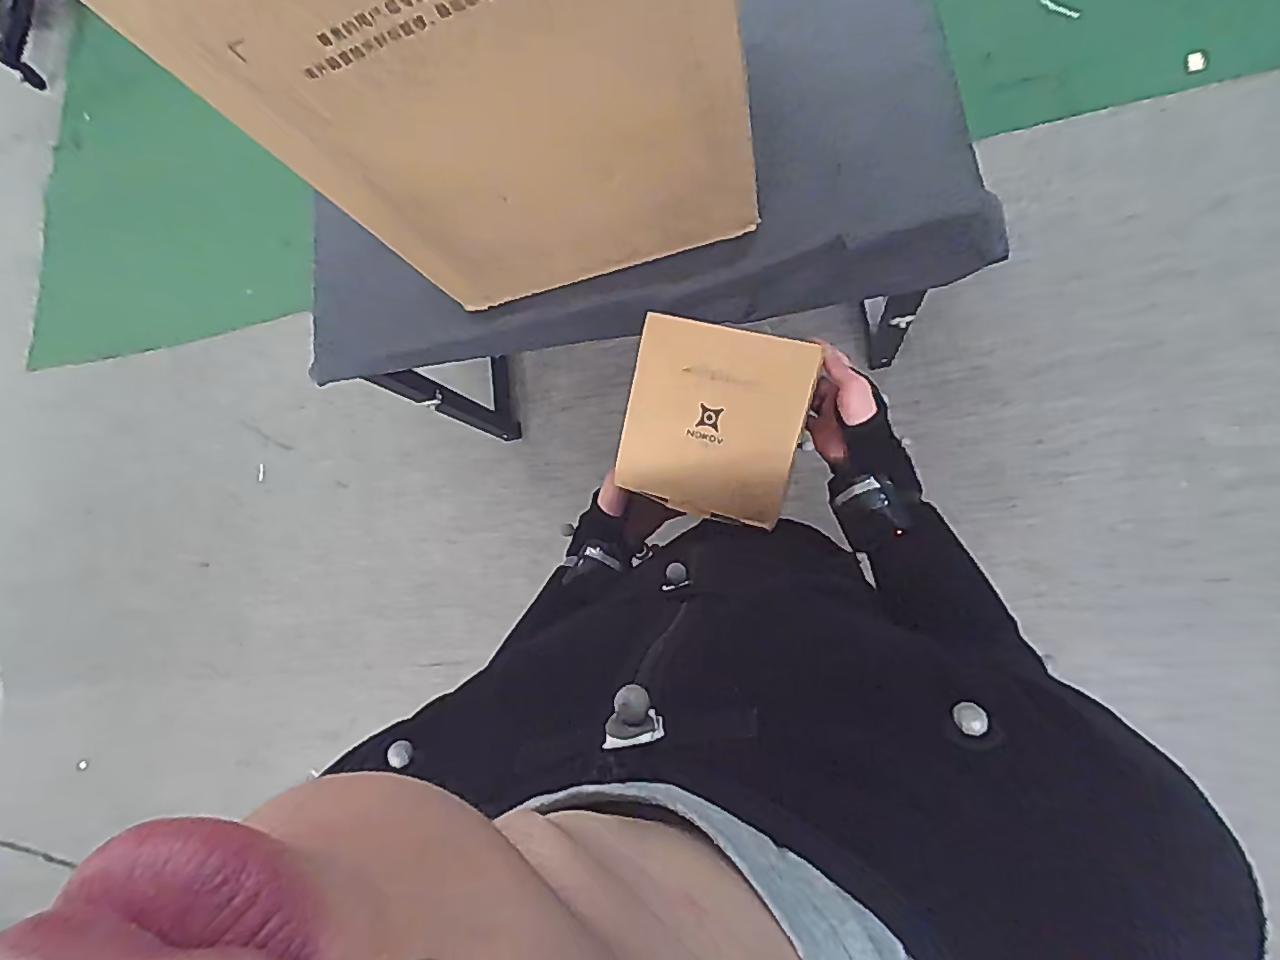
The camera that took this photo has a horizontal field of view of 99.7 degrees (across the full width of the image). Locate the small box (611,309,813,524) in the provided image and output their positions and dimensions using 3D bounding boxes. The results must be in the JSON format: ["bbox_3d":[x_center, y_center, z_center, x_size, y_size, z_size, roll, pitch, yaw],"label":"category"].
[{"bbox_3d":[0.086,-0.073,0.588,0.168,0.176,0.179,15,103,14],"label":"small box"}]
